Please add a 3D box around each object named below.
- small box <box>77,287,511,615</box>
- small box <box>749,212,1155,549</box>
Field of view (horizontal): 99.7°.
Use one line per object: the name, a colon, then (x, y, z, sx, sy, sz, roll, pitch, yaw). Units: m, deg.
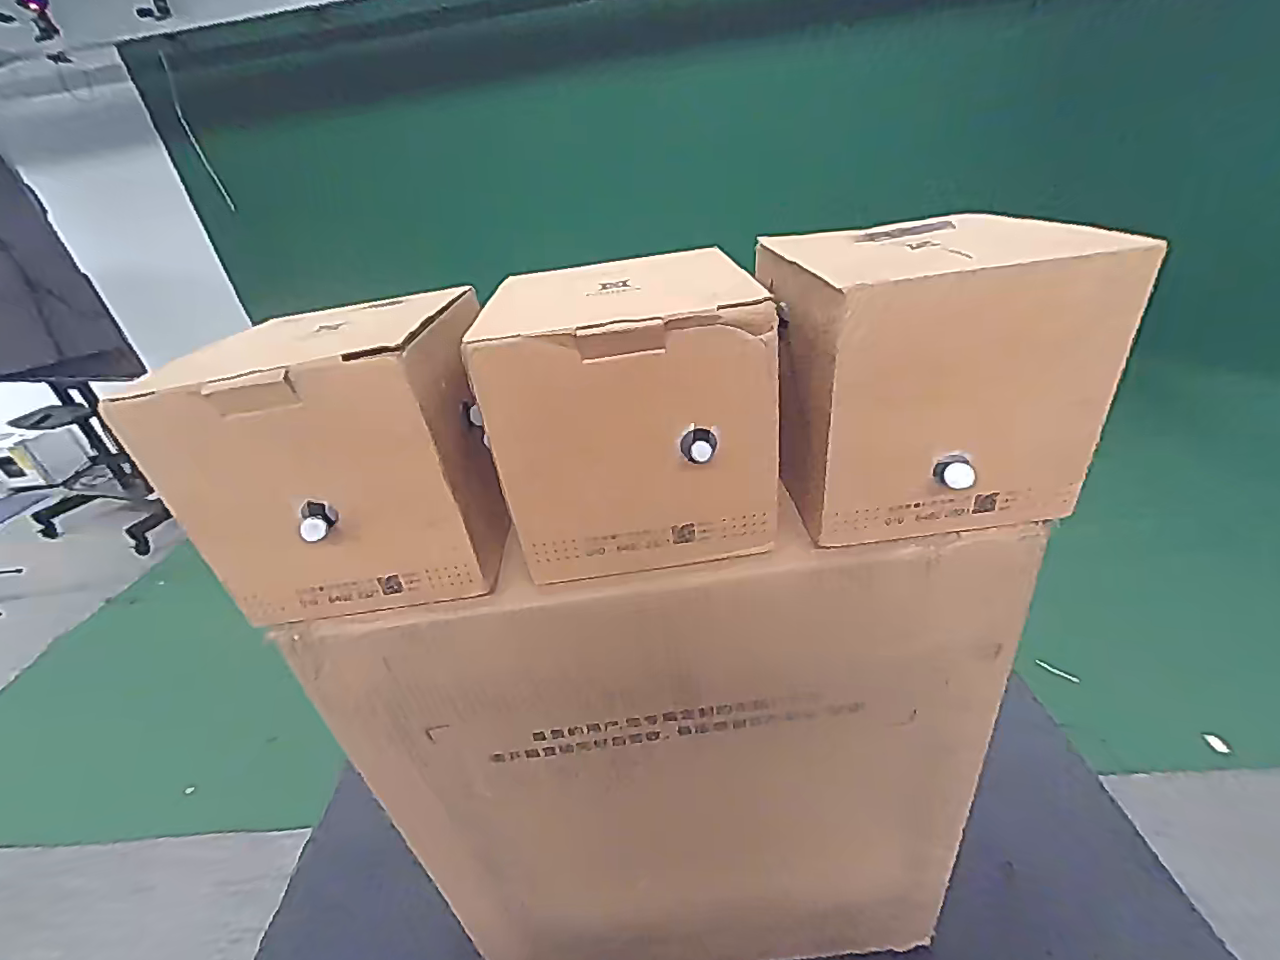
small box: (-0.203, -0.021, 0.388, 0.168, 0.176, 0.179, -9, 31, 3)
small box: (0.172, -0.076, 0.373, 0.168, 0.176, 0.179, -8, 32, 2)
